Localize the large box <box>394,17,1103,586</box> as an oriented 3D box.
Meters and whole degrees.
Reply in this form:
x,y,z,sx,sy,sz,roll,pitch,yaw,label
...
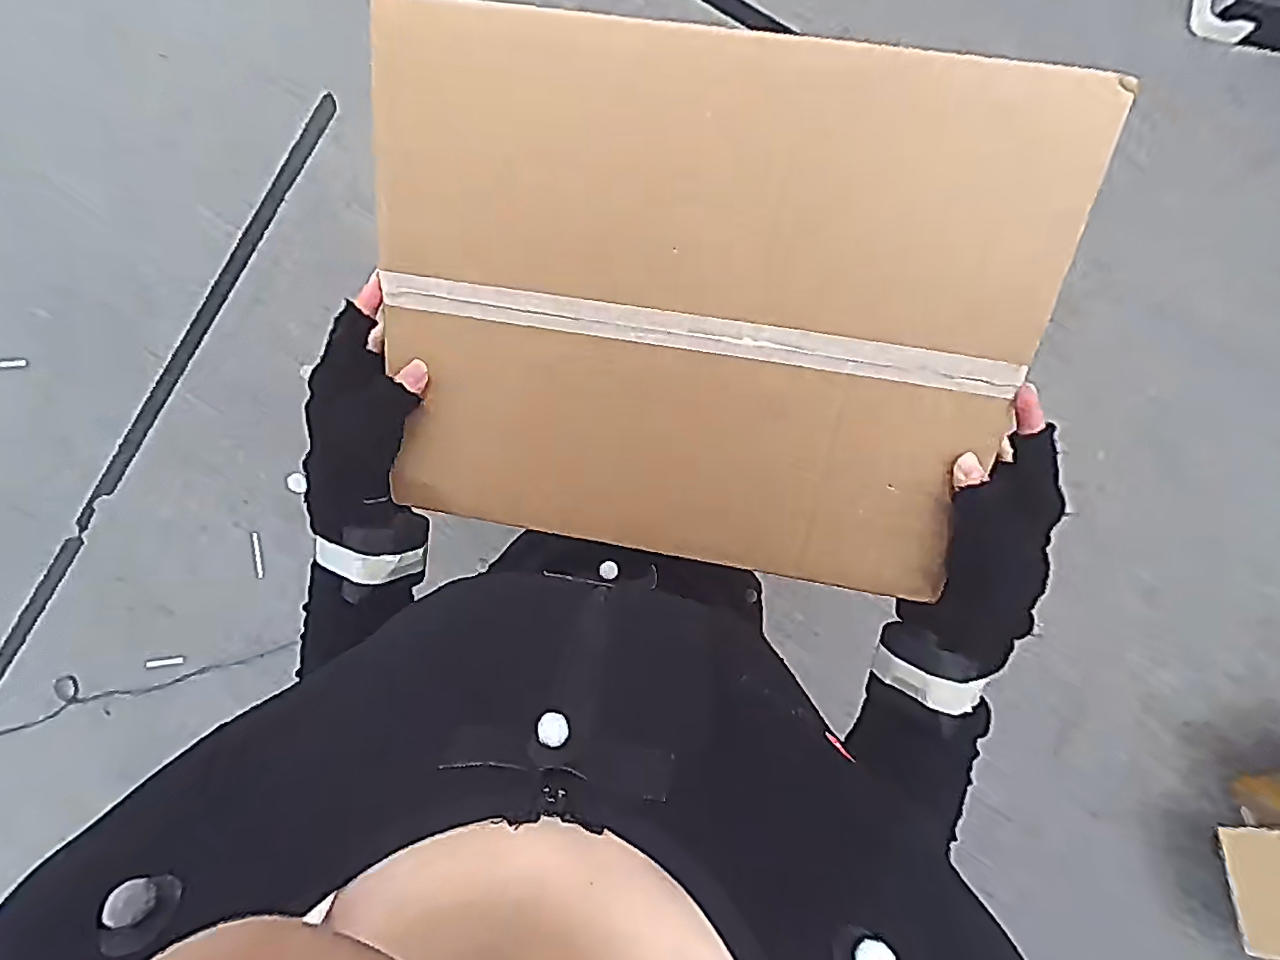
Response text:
x,y,z,sx,sy,sz,roll,pitch,yaw,label
0.049,-0.144,0.489,0.408,0.320,0.320,10,112,4,large box
